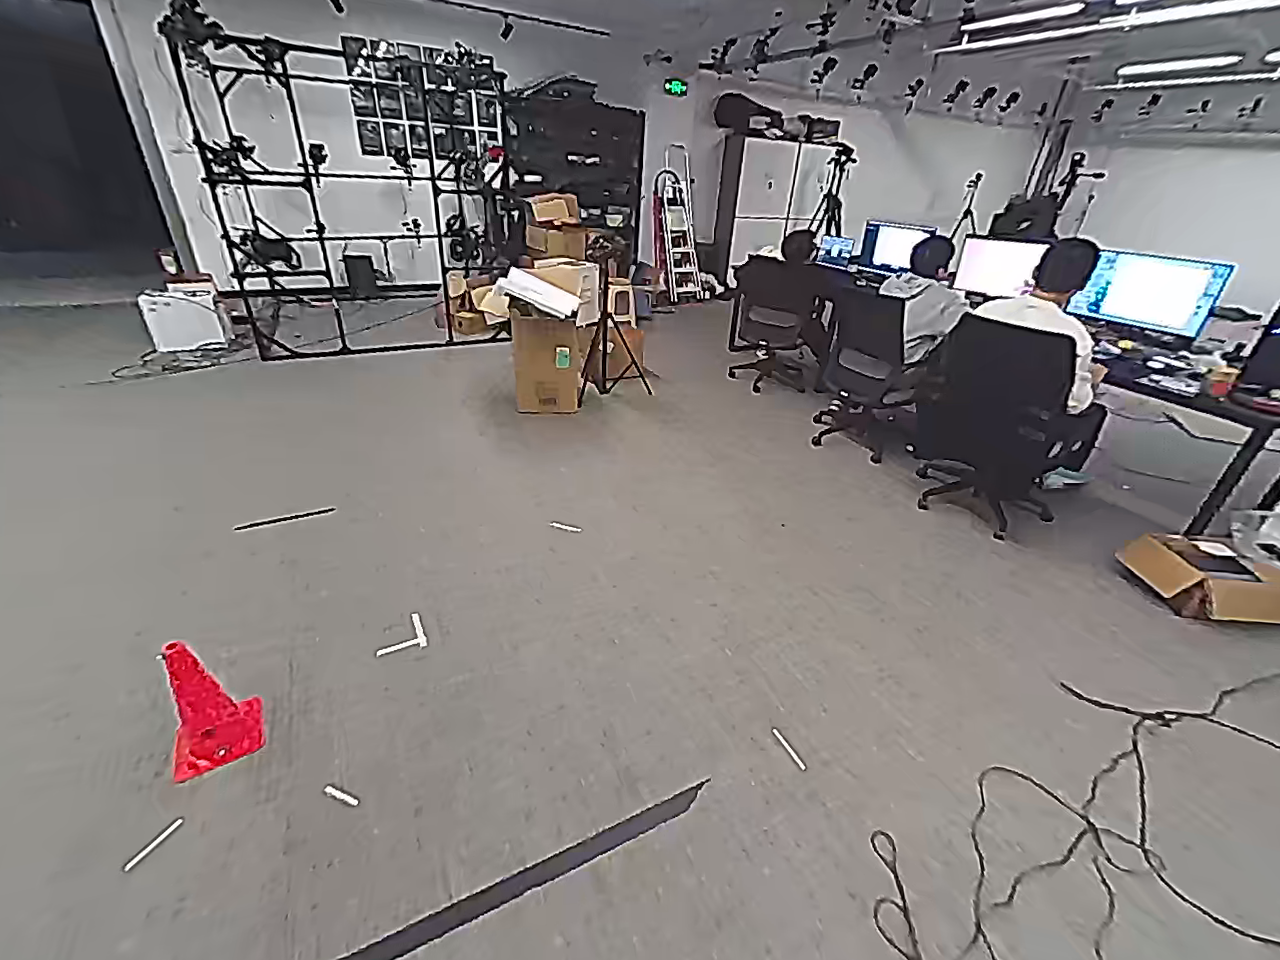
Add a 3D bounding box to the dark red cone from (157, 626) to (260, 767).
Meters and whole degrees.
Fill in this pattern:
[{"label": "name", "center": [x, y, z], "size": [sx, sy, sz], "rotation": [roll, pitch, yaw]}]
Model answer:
[{"label": "dark red cone", "center": [-1.156, 0.532, 1.399], "size": [0.202, 0.394, 0.201], "rotation": [-16, 36, -31]}]
